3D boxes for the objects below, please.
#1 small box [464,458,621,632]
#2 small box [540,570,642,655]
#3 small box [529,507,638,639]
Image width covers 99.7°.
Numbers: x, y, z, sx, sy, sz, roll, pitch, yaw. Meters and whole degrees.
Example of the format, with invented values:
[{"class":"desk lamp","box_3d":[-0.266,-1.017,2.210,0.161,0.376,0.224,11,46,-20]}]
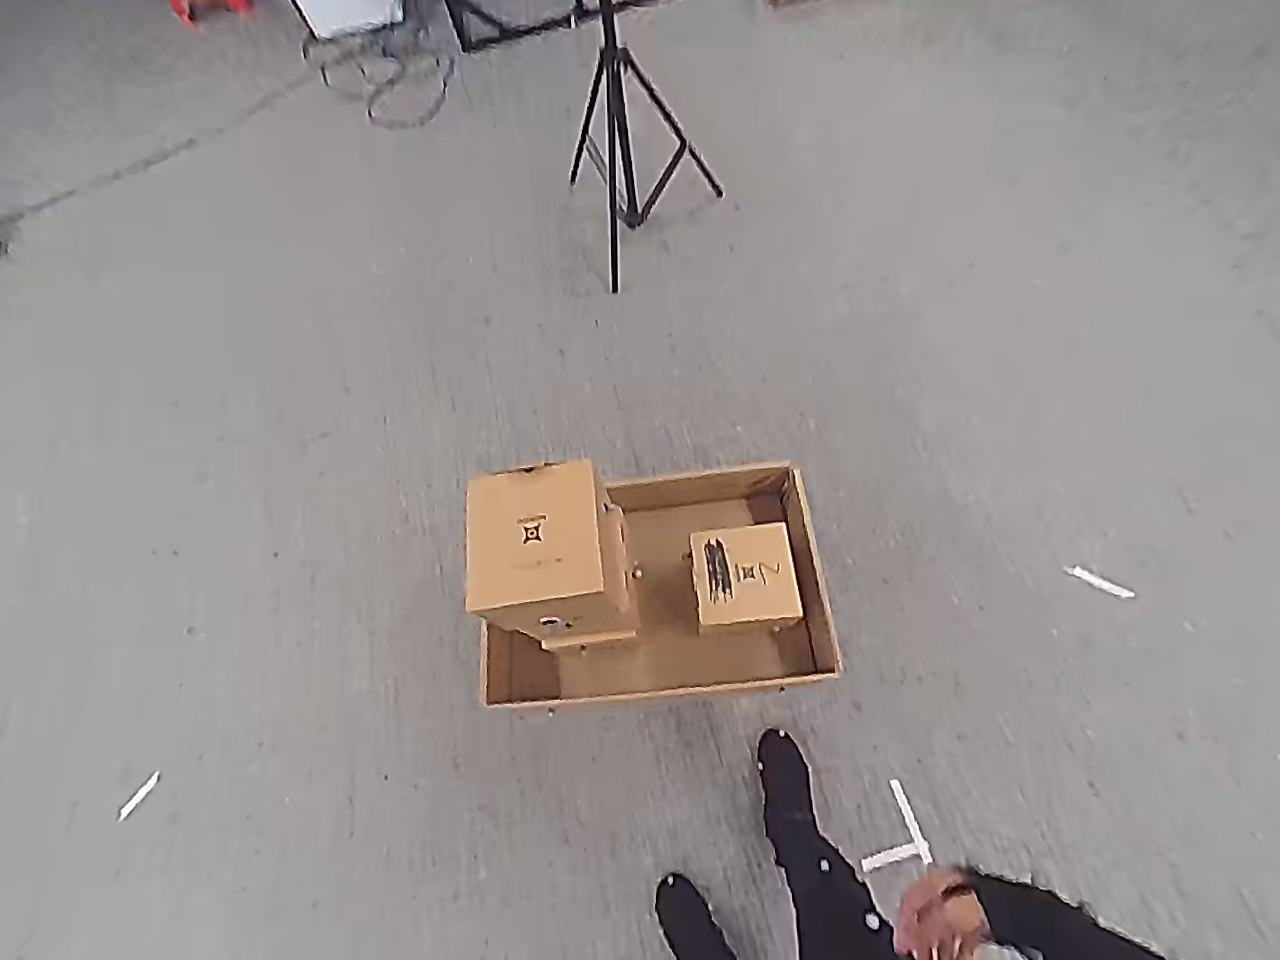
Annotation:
[{"class":"small box","box_3d":[-0.123,0.093,0.725,0.168,0.176,0.179,-9,65,3]},{"class":"small box","box_3d":[-0.090,0.230,1.022,0.168,0.176,0.179,-8,66,2]},{"class":"small box","box_3d":[-0.103,0.157,0.875,0.179,0.176,0.168,-7,66,2]}]
